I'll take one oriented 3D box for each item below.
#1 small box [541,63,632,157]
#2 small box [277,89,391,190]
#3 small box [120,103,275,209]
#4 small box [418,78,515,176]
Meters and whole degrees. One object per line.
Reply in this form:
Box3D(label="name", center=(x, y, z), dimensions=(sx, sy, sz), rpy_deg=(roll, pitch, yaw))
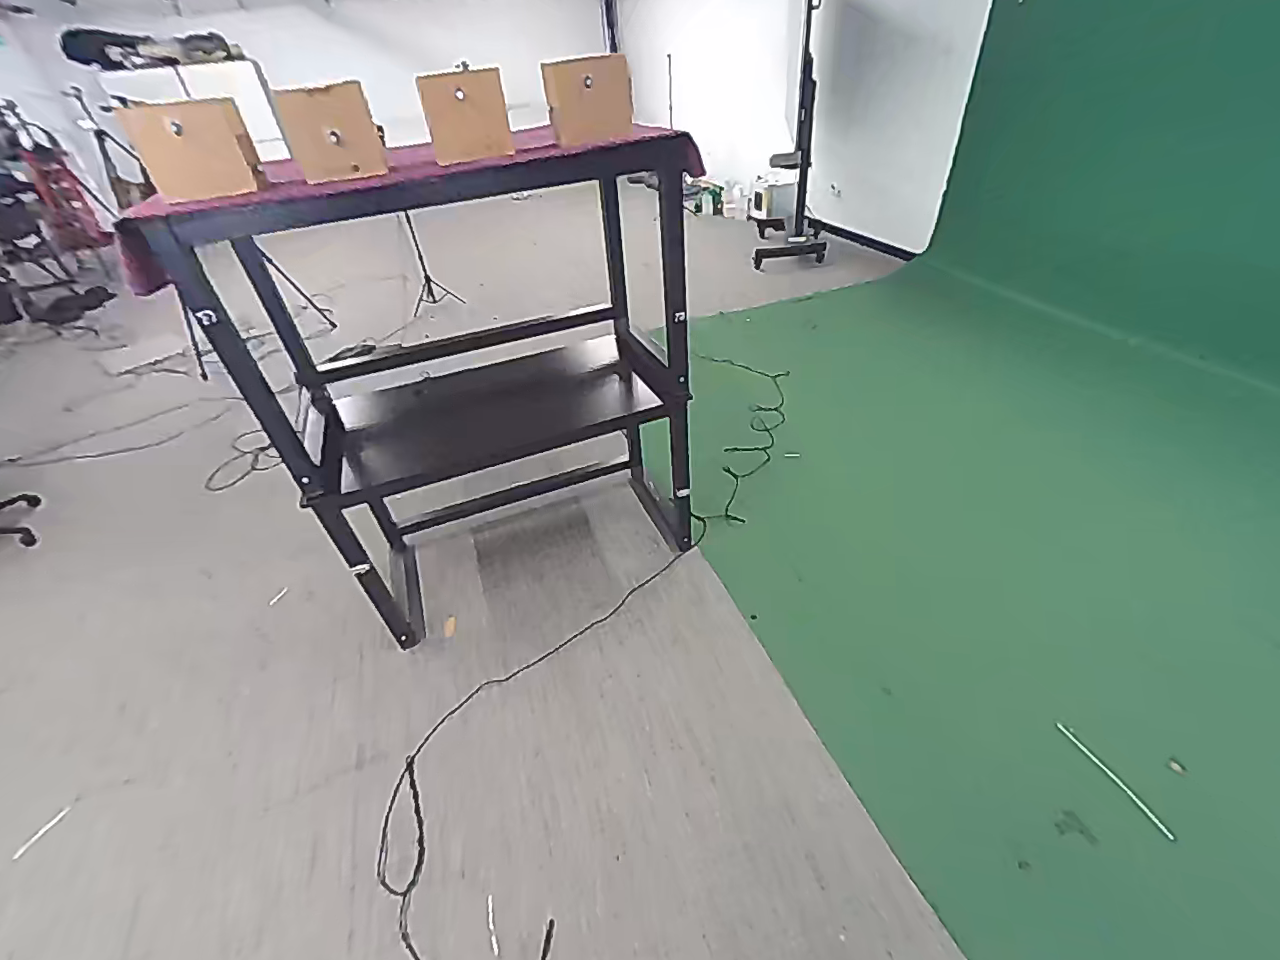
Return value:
Box3D(label="small box", center=(-0.130, -0.902, 1.321), dimensions=(0.179, 0.176, 0.168), rpy_deg=(-15, 40, -10))
Box3D(label="small box", center=(-0.662, -0.748, 1.191), dimensions=(0.168, 0.176, 0.179), rpy_deg=(-17, 39, -14))
Box3D(label="small box", center=(-0.905, -0.675, 1.126), dimensions=(0.179, 0.176, 0.168), rpy_deg=(-16, 39, -15))
Box3D(label="small box", center=(-0.399, -0.824, 1.259), dimensions=(0.179, 0.176, 0.168), rpy_deg=(-17, 38, -13))
